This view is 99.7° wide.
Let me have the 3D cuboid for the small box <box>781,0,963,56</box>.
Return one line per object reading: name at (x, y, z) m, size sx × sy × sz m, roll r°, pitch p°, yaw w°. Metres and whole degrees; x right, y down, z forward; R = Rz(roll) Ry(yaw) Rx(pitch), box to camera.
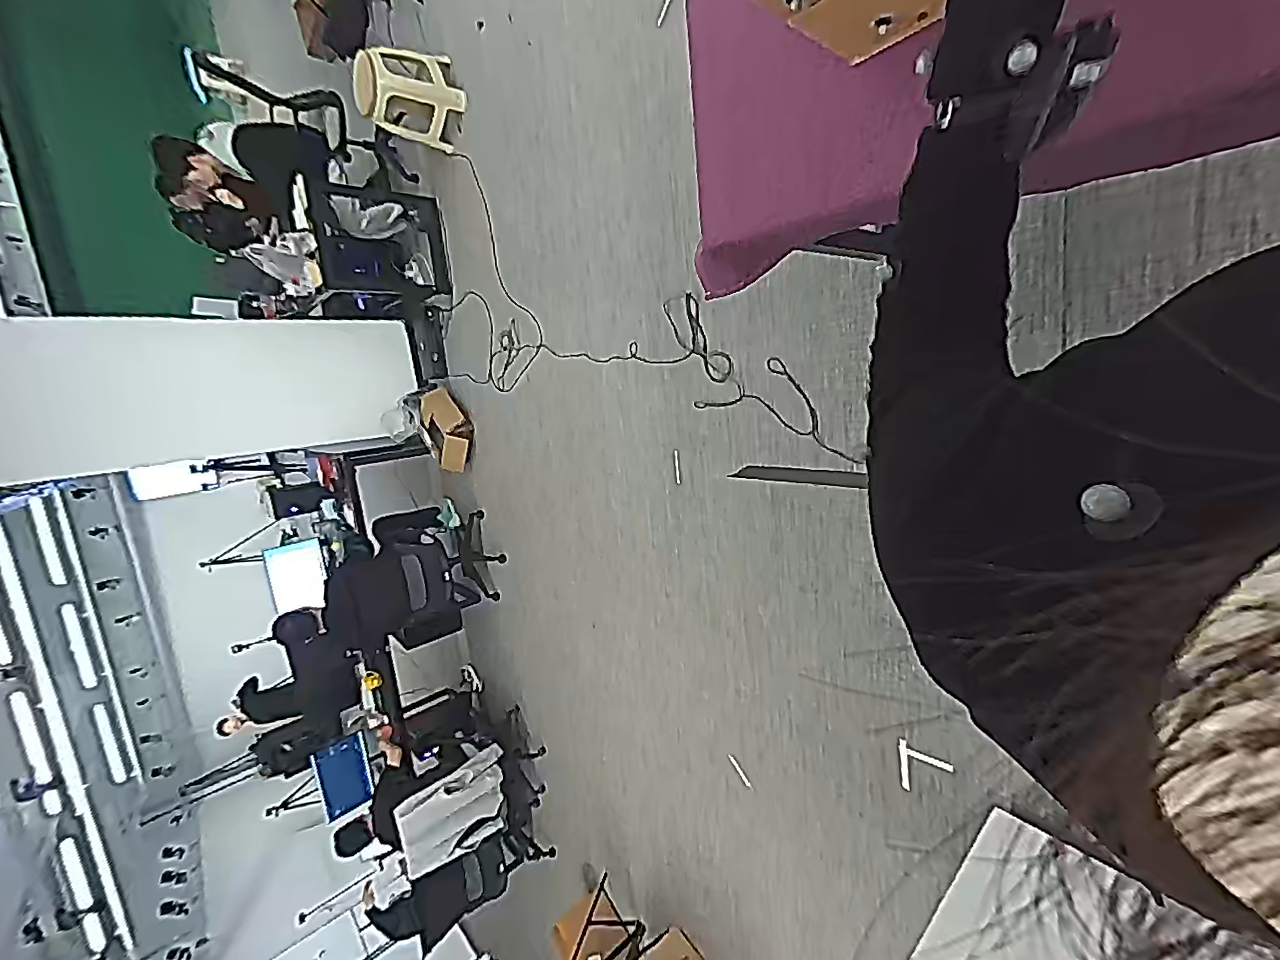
small box at (0.275, -0.645, 0.623) m, size 0.168 × 0.176 × 0.179 m, roll 5°, pitch 106°, yaw 48°
